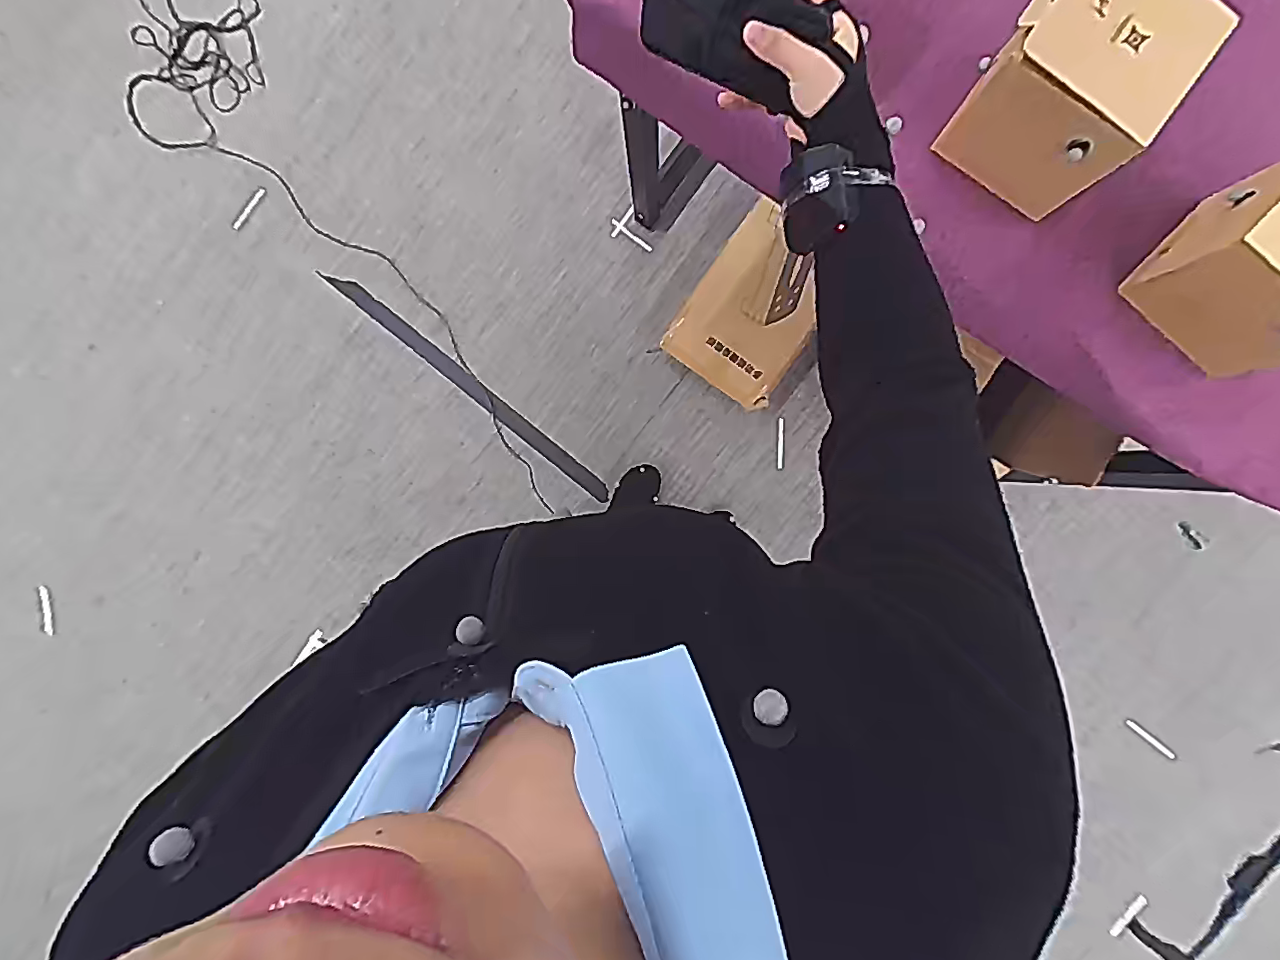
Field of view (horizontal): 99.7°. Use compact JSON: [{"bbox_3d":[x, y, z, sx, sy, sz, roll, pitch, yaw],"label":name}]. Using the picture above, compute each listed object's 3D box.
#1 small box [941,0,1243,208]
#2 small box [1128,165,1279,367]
[{"bbox_3d":[0.511,-0.461,0.641,0.179,0.176,0.168,36,91,1],"label":"small box"},{"bbox_3d":[0.754,-0.255,0.638,0.179,0.176,0.168,43,93,0],"label":"small box"}]
